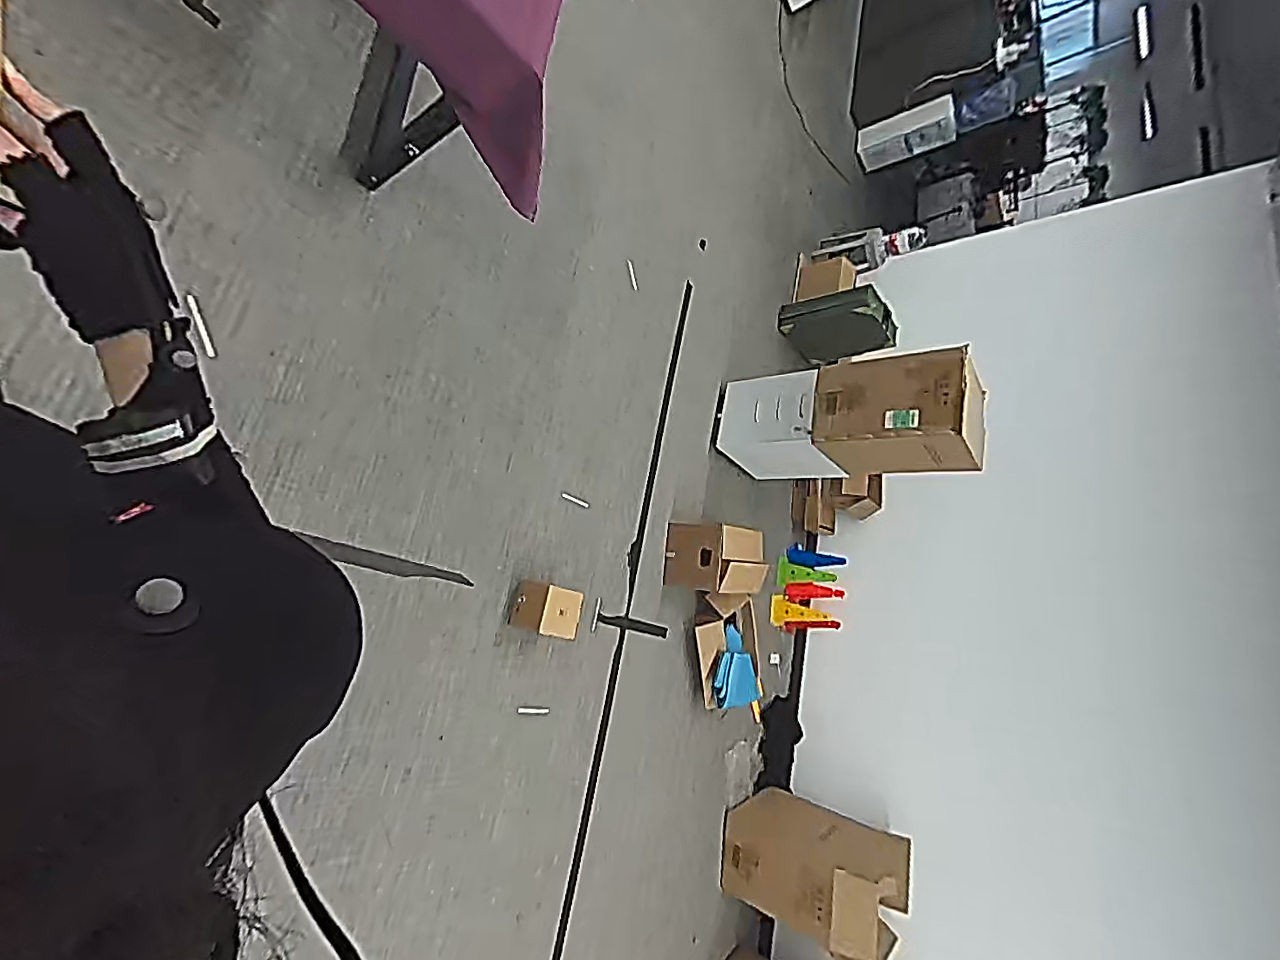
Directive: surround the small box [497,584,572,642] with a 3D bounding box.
[{"bbox_3d":[-0.374,0.471,1.926,0.179,0.176,0.168,30,66,-47],"label":"small box"}]
